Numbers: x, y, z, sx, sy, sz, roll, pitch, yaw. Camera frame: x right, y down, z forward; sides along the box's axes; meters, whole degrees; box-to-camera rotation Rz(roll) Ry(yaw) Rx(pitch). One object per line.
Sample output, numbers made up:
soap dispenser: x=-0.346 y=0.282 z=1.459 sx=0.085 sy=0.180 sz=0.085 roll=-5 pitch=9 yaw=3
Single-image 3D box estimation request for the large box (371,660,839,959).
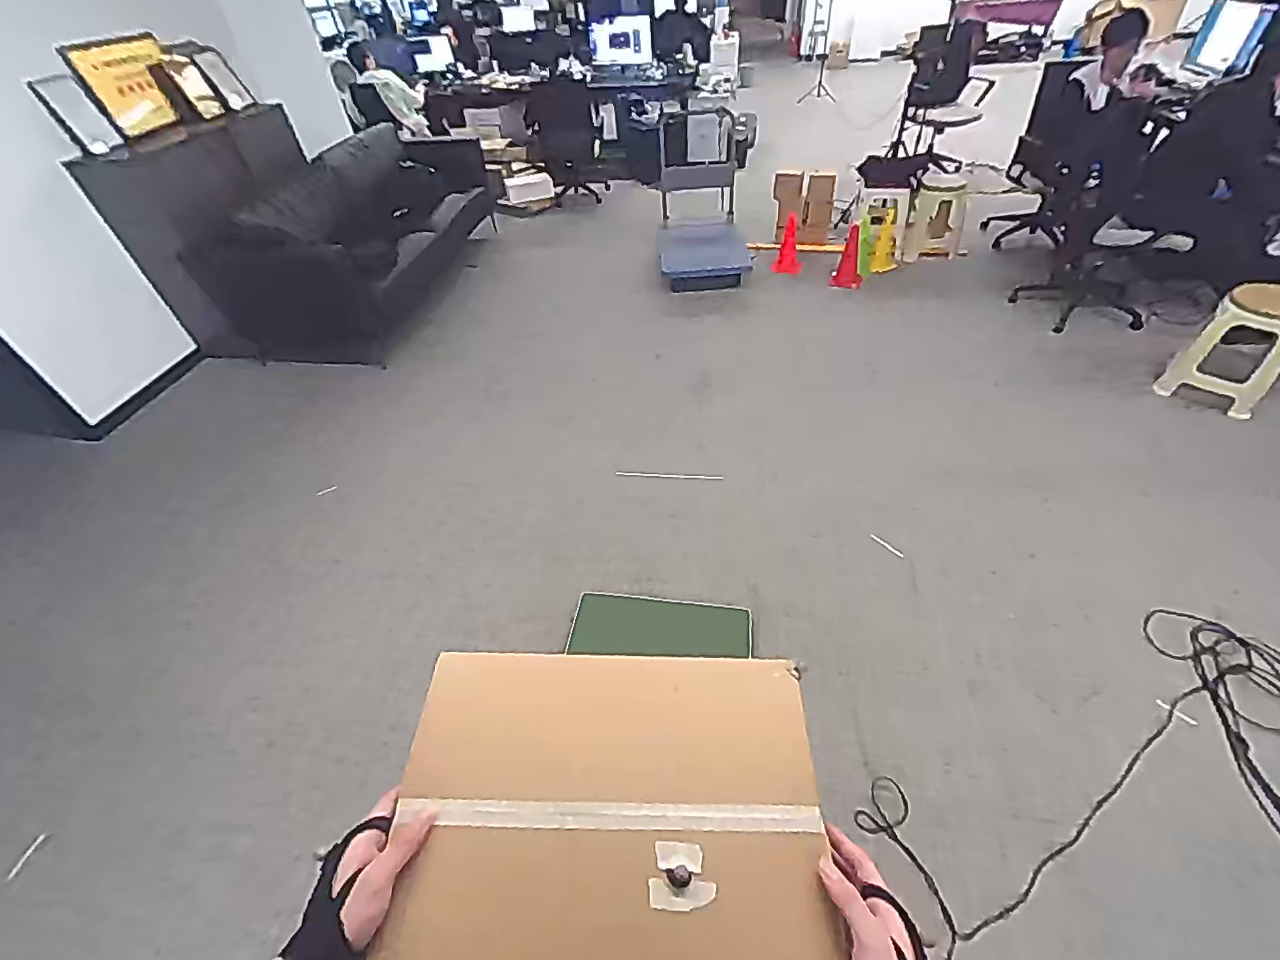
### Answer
large box: x=-0.032 y=0.424 z=0.637 sx=0.408 sy=0.320 sz=0.320 roll=1 pitch=50 yaw=0
